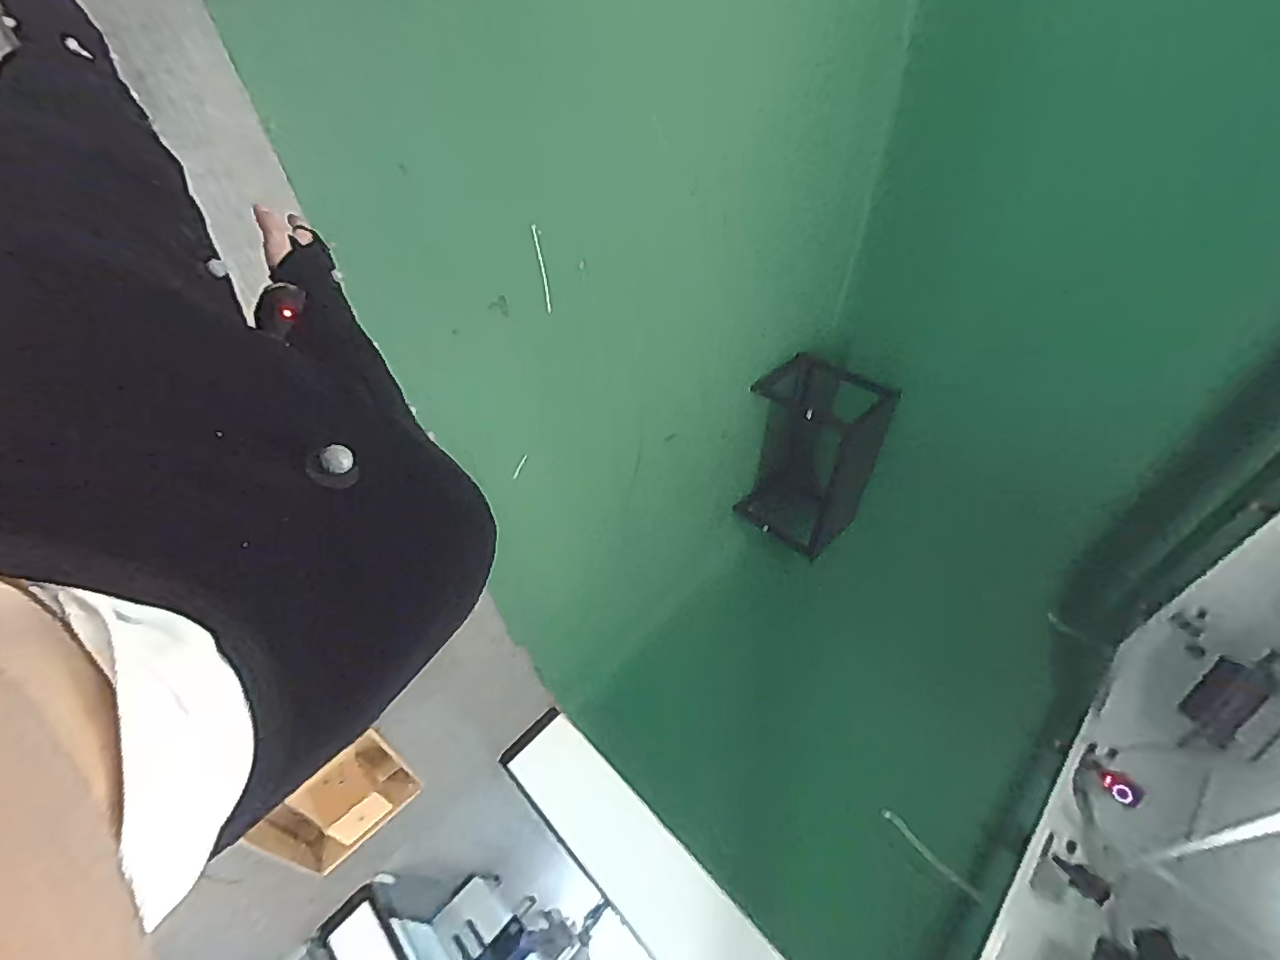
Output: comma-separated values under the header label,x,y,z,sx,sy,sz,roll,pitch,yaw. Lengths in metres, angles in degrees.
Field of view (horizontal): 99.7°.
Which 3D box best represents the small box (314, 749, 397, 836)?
label,x,y,z,sx,sy,sz,roll,pitch,yaw
small box,-0.961,1.051,1.829,0.168,0.176,0.179,-35,142,-28
